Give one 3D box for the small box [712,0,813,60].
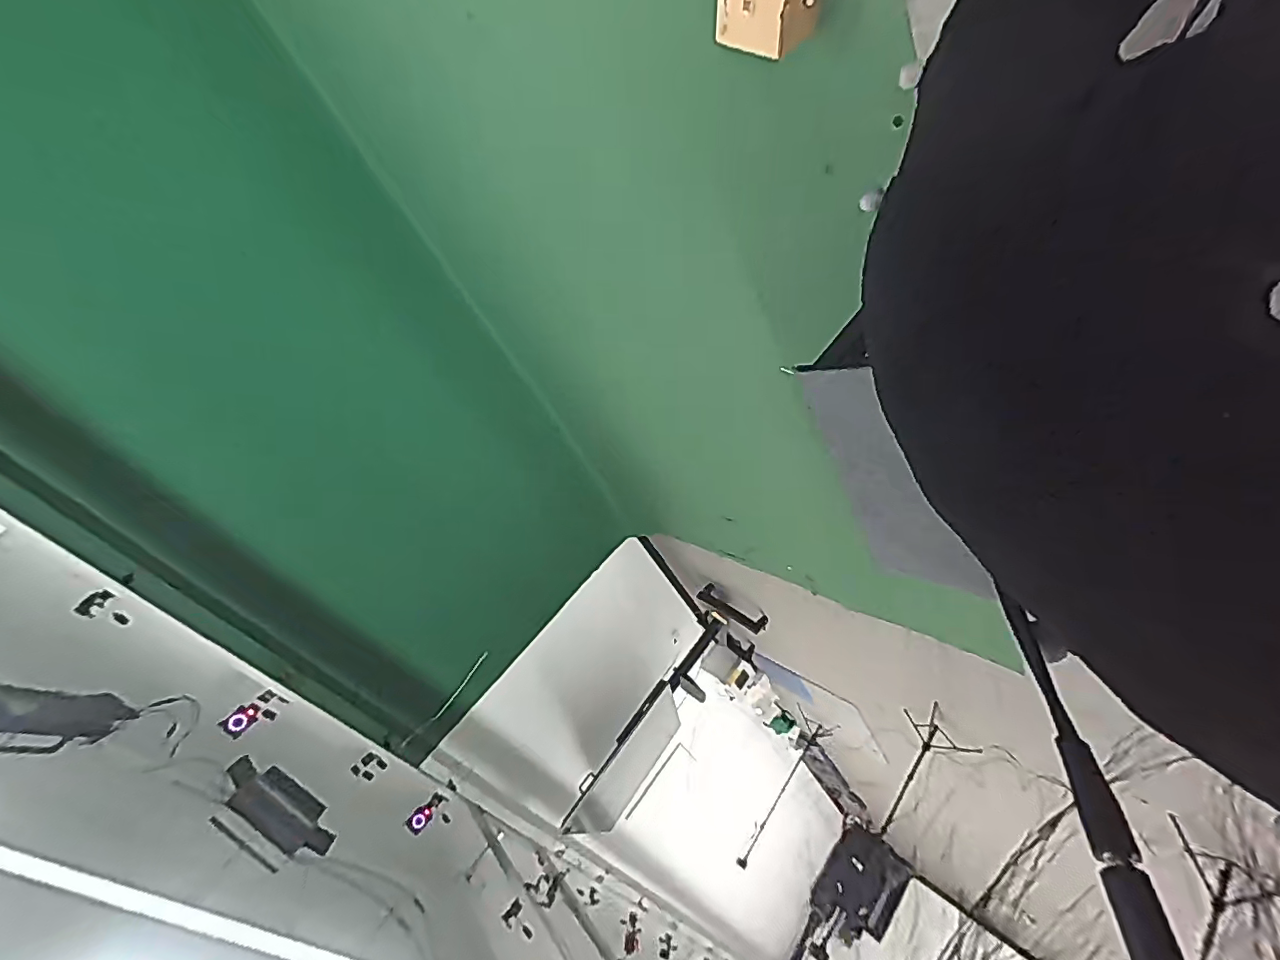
[{"bbox_3d":[0.283,-1.089,1.209,0.179,0.176,0.168,34,157,20],"label":"small box"}]
